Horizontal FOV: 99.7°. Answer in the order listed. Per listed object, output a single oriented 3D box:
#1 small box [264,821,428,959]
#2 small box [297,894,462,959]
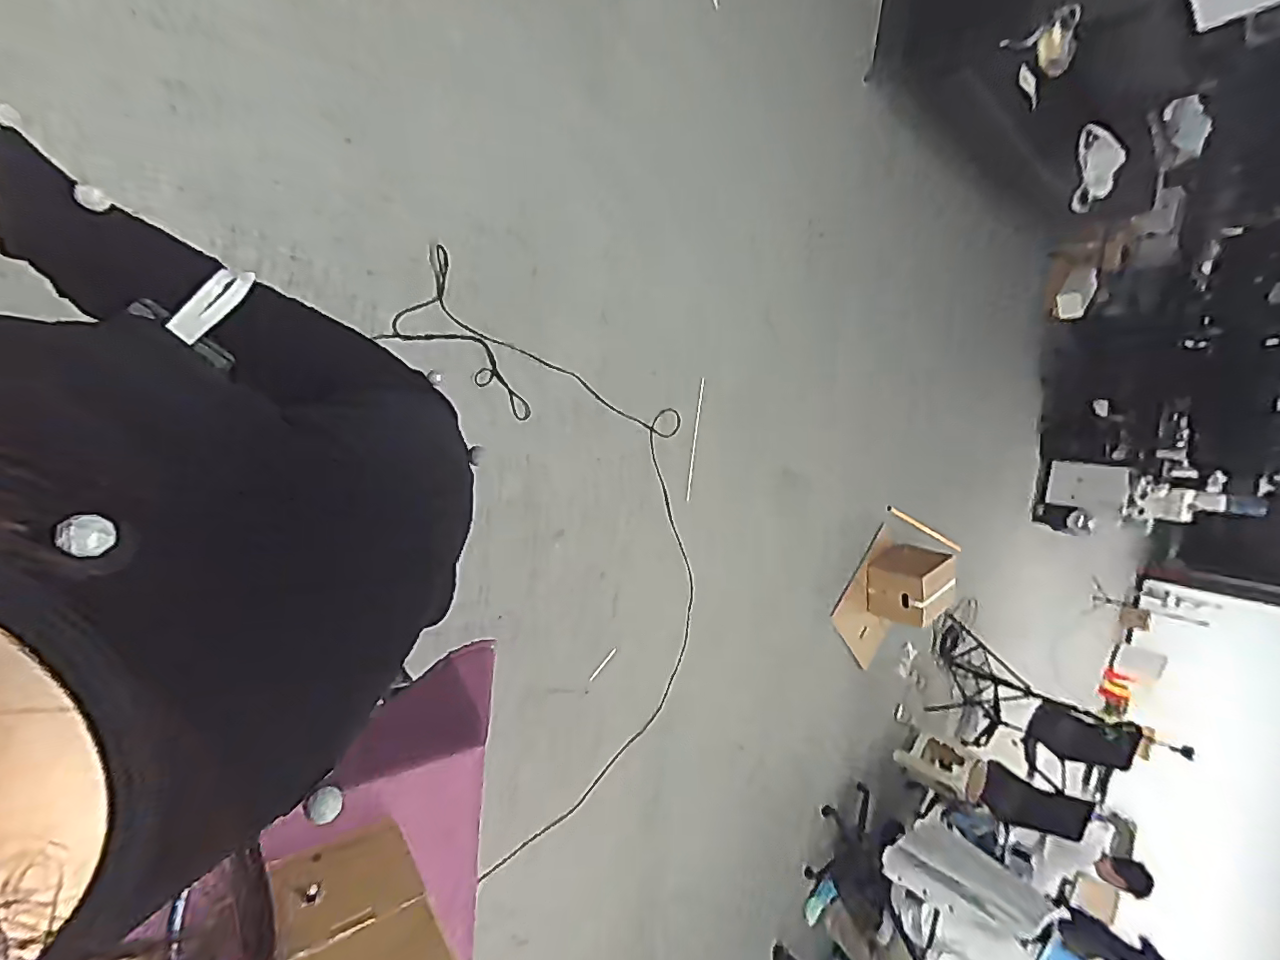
[{"bbox_3d":[-0.392,0.596,0.717,0.168,0.176,0.179,-2,100,-39],"label":"small box"},{"bbox_3d":[-0.286,0.620,0.597,0.179,0.176,0.168,-4,101,-38],"label":"small box"}]
